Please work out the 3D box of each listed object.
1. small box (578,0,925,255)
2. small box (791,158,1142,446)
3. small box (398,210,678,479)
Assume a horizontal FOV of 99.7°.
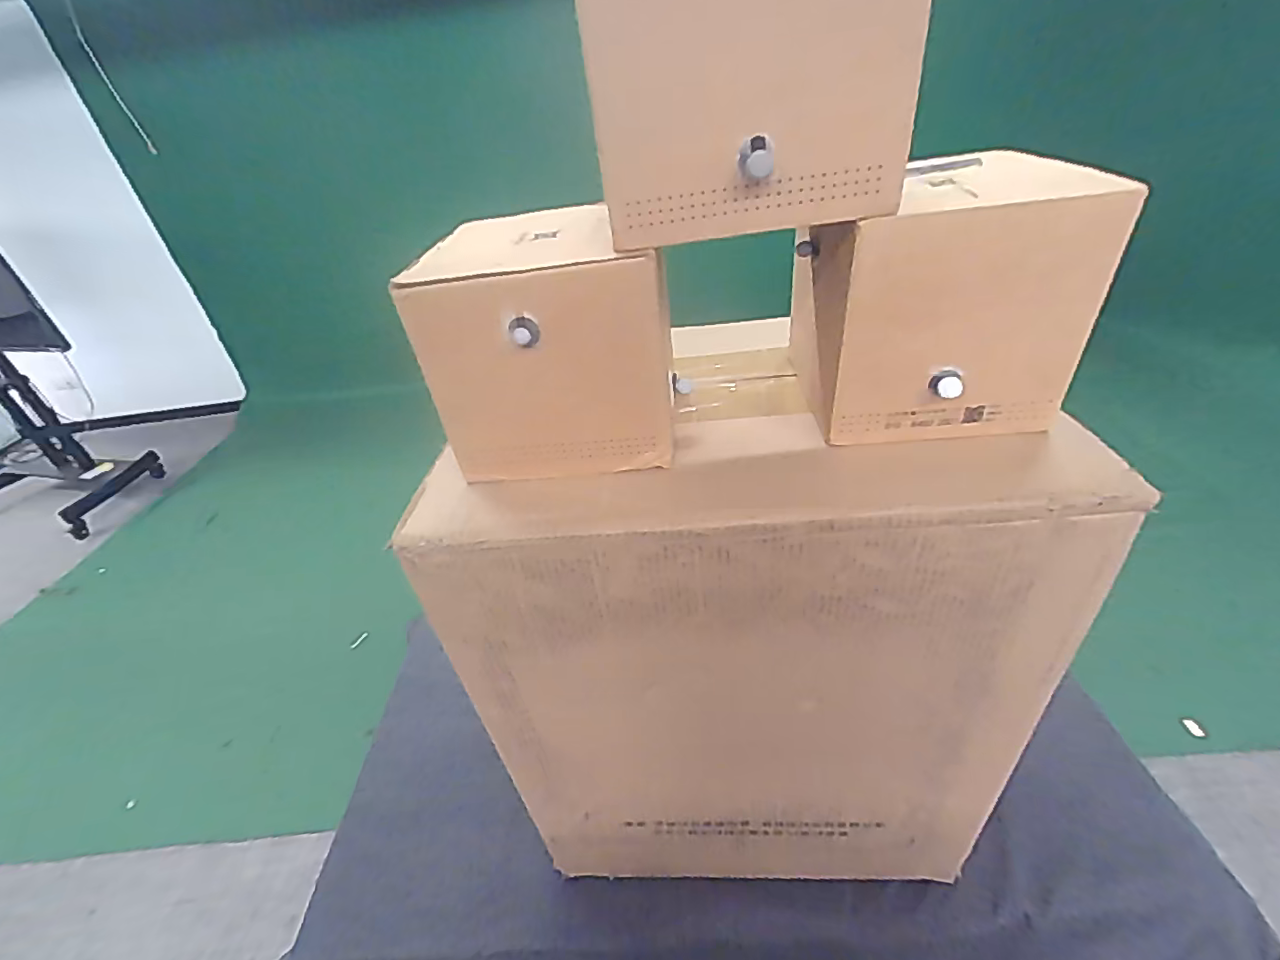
[{"bbox_3d":[0.059,-0.258,0.345,0.179,0.176,0.168,-6,38,3],"label":"small box"},{"bbox_3d":[0.223,-0.145,0.436,0.168,0.176,0.179,-4,38,5],"label":"small box"},{"bbox_3d":[-0.061,-0.113,0.453,0.179,0.176,0.168,-3,39,5],"label":"small box"}]
